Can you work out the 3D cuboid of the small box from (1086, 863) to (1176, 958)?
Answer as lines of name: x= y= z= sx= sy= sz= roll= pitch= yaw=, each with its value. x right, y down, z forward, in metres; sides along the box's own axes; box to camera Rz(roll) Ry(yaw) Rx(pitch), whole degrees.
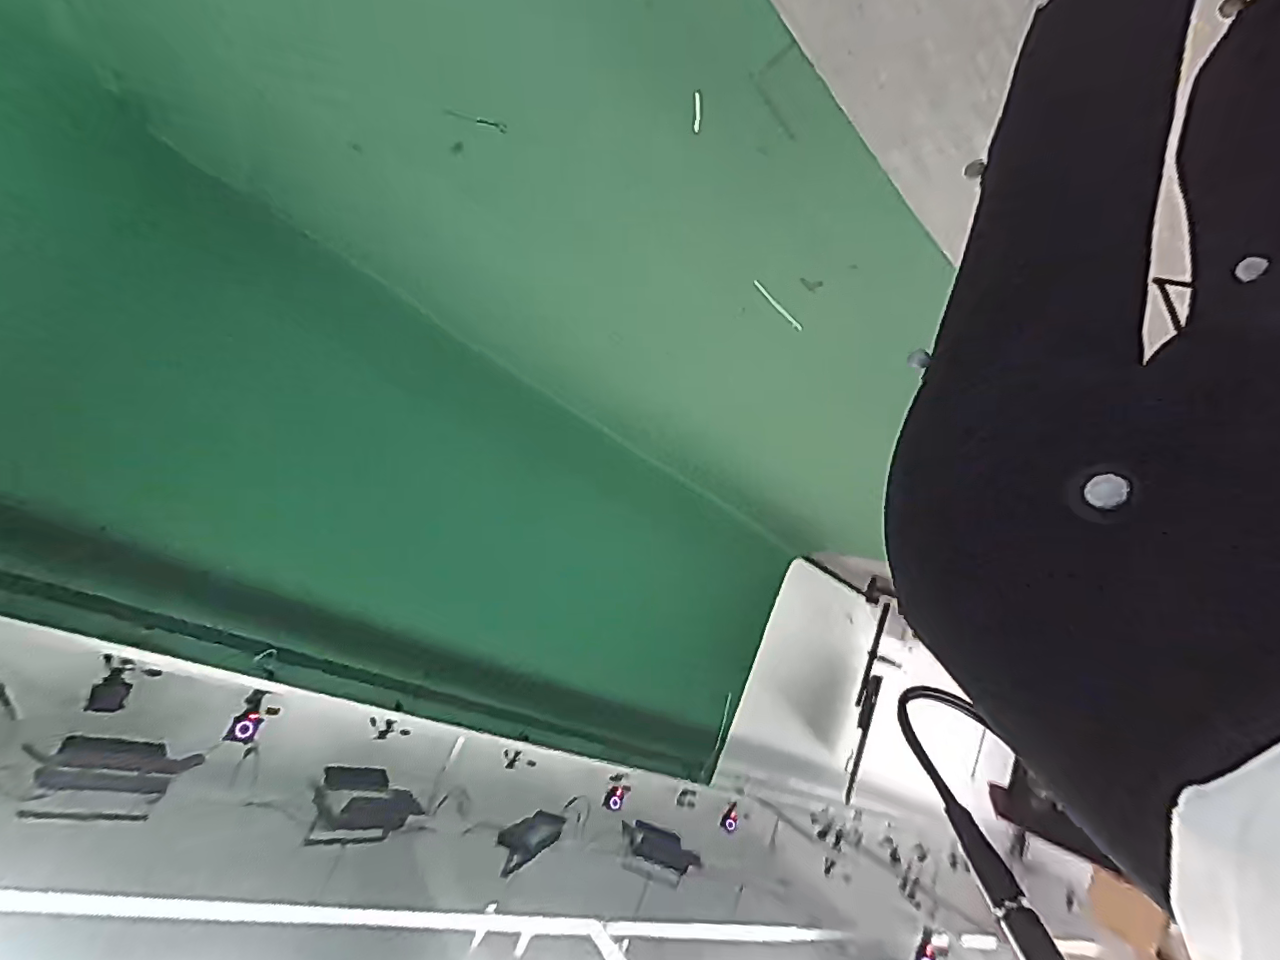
small box: x=1.501 y=1.308 z=1.651 sx=0.179 sy=0.176 sz=0.168 roll=33 pitch=165 yaw=-31
